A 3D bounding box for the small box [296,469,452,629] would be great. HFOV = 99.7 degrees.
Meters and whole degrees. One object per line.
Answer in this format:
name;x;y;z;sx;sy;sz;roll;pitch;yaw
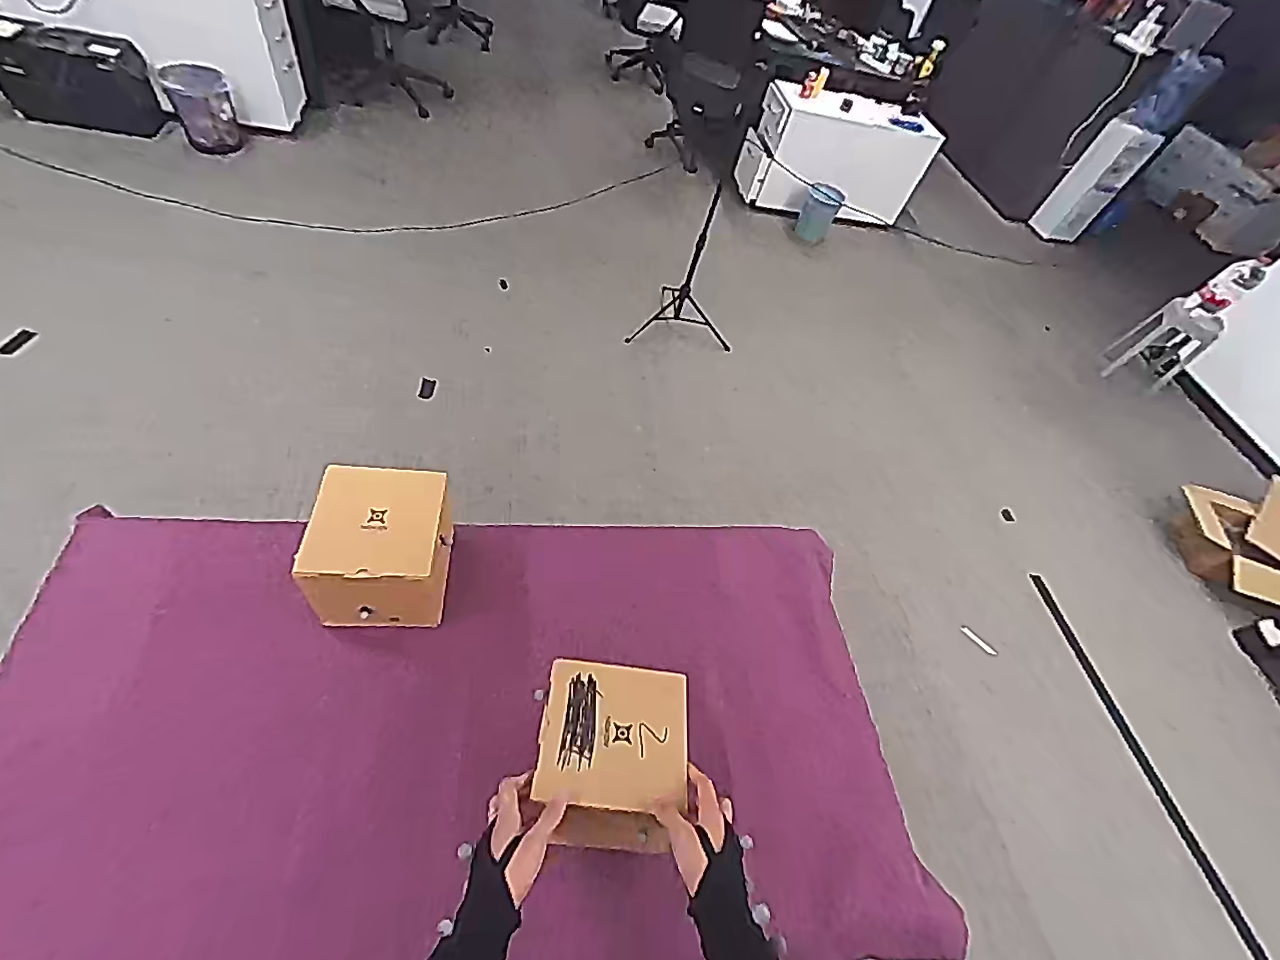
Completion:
small box;-0.378;0.106;0.807;0.168;0.176;0.179;4;53;-13
